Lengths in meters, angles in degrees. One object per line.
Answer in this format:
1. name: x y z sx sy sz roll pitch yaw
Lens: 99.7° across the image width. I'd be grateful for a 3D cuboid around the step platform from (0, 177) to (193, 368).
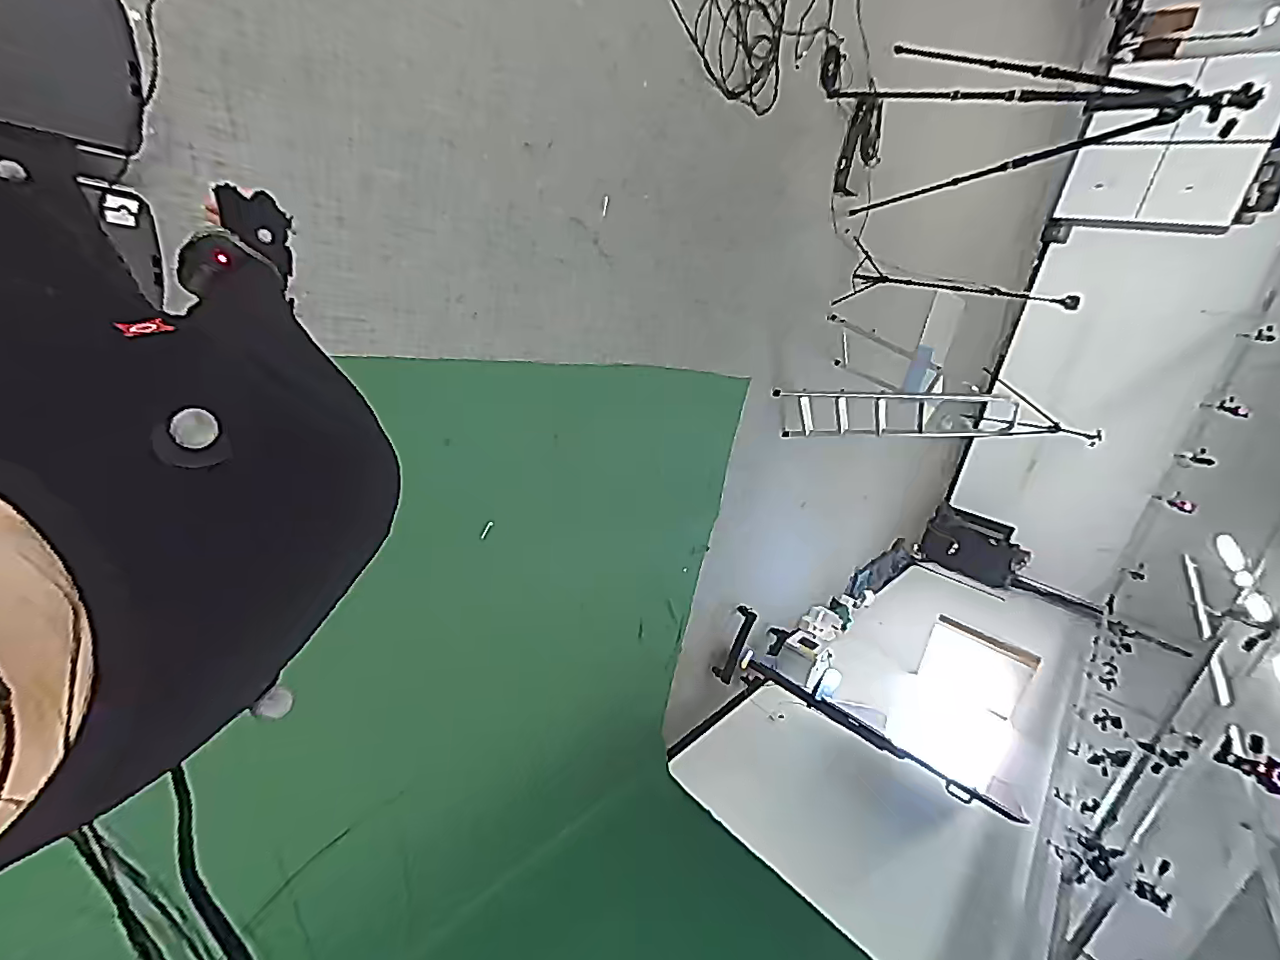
1. step platform: -1.118 -0.334 0.798 0.684 0.204 0.286 -11 119 -49
